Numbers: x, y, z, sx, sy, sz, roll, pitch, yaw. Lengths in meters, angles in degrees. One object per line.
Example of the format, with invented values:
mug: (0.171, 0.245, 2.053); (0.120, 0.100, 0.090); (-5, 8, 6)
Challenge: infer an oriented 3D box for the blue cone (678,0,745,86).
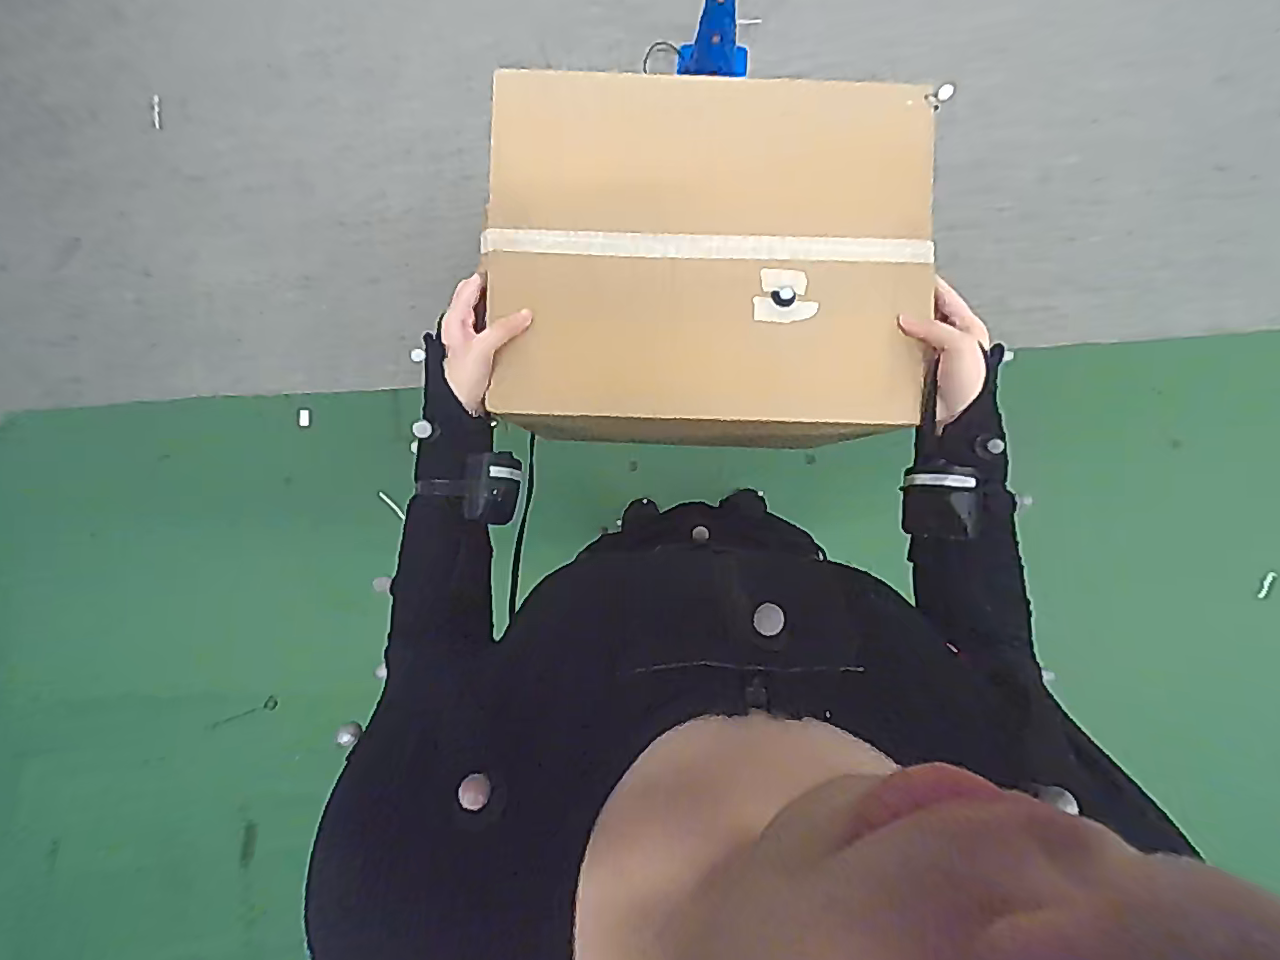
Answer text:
blue cone: (0.198, -1.142, 1.397); (0.193, 0.380, 0.192); (6, 88, 3)

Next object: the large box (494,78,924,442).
large box: (0.059, -0.213, 0.648); (0.408, 0.320, 0.320); (1, 90, -2)
